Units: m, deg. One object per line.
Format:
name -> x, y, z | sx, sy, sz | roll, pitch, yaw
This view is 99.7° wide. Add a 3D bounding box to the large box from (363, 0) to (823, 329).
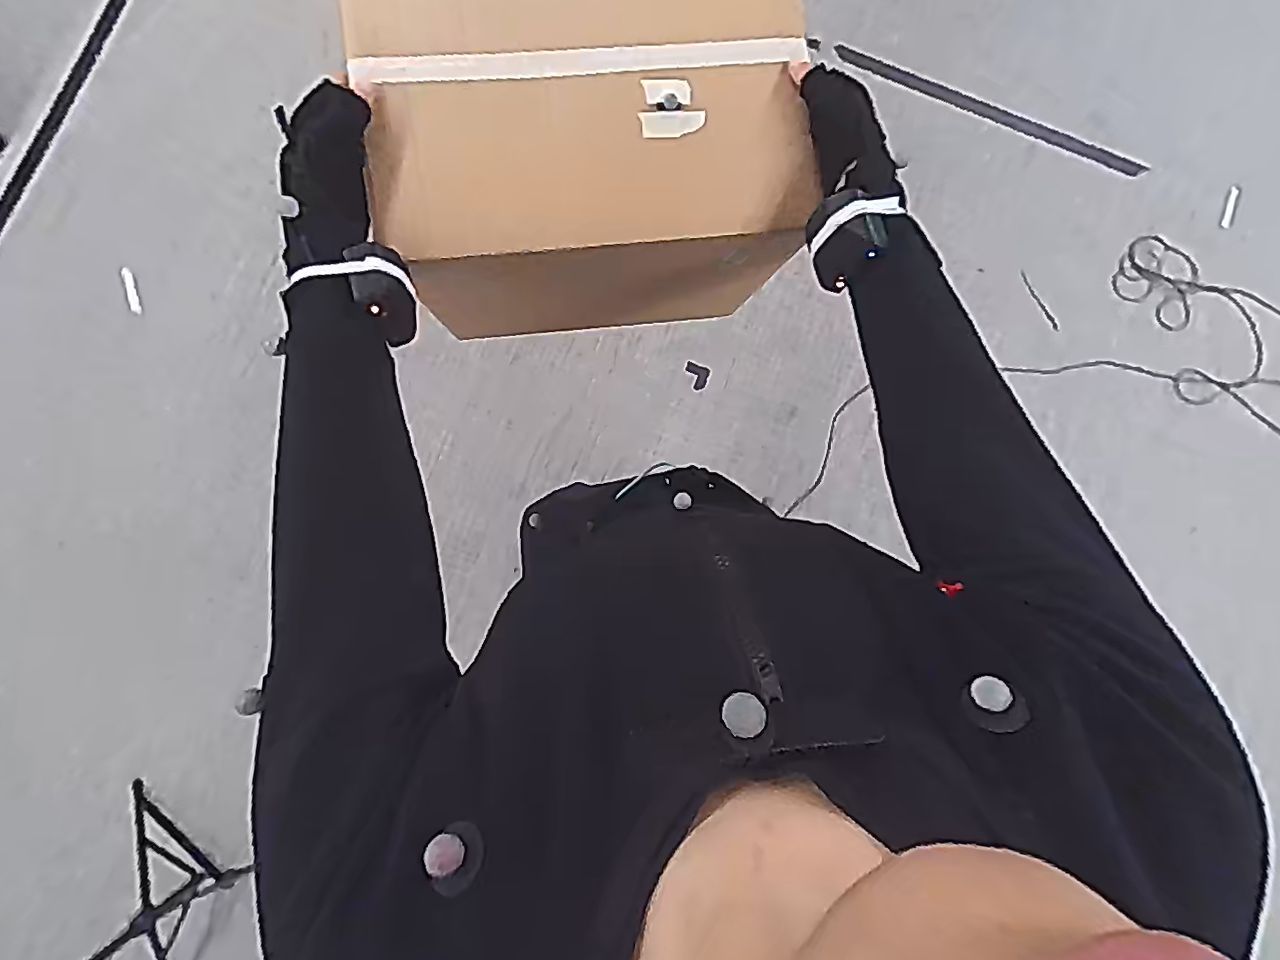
large box -> -0.055, -0.381, 0.635 | 0.408, 0.320, 0.320 | -6, 94, -7
